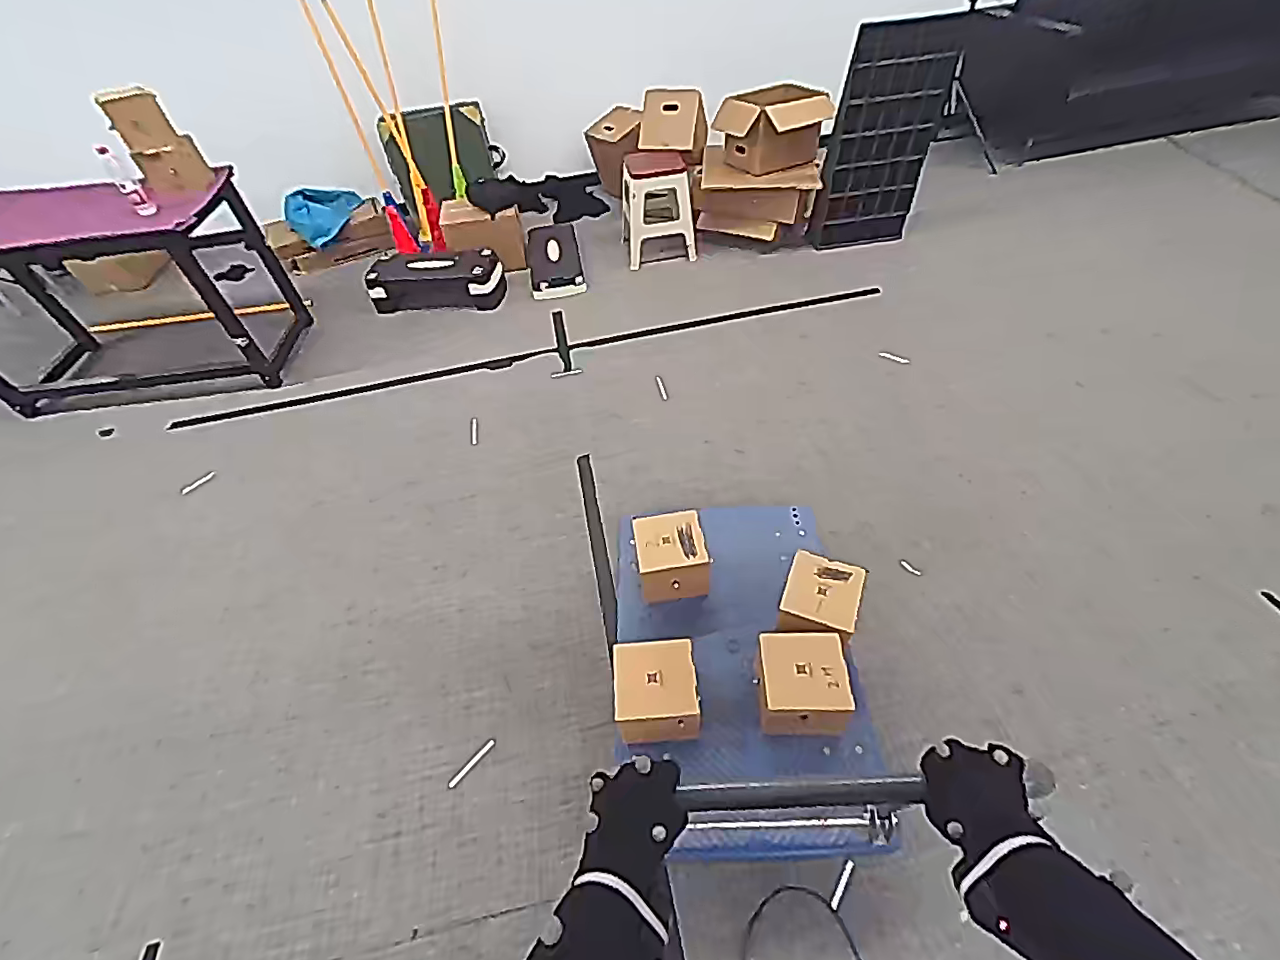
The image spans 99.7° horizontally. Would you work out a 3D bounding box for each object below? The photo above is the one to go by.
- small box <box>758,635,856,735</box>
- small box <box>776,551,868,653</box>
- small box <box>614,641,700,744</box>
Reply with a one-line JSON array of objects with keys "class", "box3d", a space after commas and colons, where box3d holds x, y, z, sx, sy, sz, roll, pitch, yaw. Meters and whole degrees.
[{"class": "small box", "box3d": [0.356, 0.454, 1.193, 0.179, 0.176, 0.168, -2, 50, 5]}, {"class": "small box", "box3d": [0.435, 0.307, 1.311, 0.168, 0.176, 0.179, 16, 54, 19]}, {"class": "small box", "box3d": [0.039, 0.477, 1.208, 0.179, 0.176, 0.168, -5, 49, 0]}]
